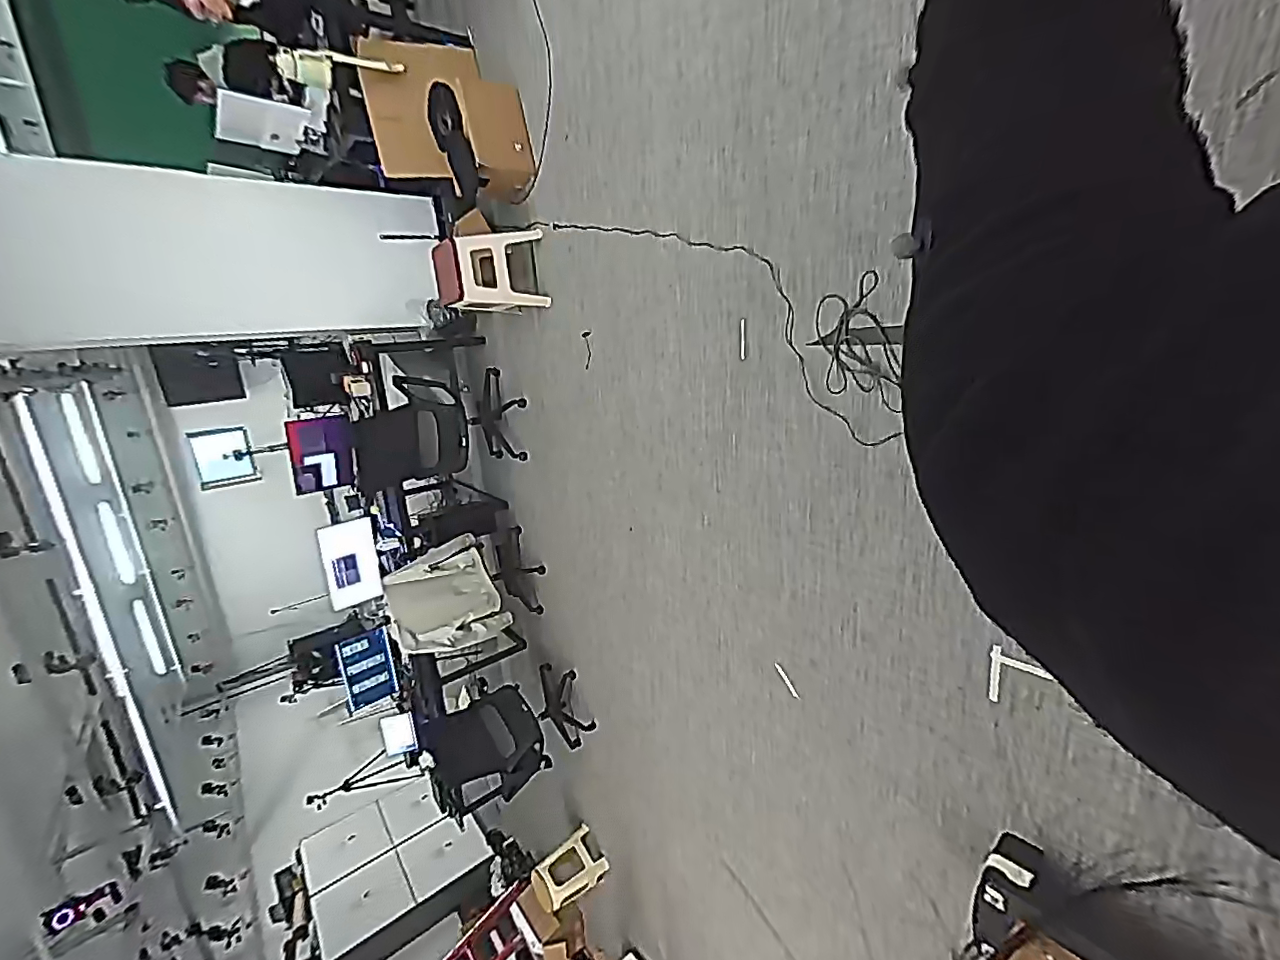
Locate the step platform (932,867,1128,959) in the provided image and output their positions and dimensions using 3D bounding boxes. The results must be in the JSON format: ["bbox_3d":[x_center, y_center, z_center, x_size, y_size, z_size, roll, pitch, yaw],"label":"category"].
[{"bbox_3d":[1.035,1.217,1.184,0.684,0.204,0.286,13,114,51],"label":"step platform"}]
